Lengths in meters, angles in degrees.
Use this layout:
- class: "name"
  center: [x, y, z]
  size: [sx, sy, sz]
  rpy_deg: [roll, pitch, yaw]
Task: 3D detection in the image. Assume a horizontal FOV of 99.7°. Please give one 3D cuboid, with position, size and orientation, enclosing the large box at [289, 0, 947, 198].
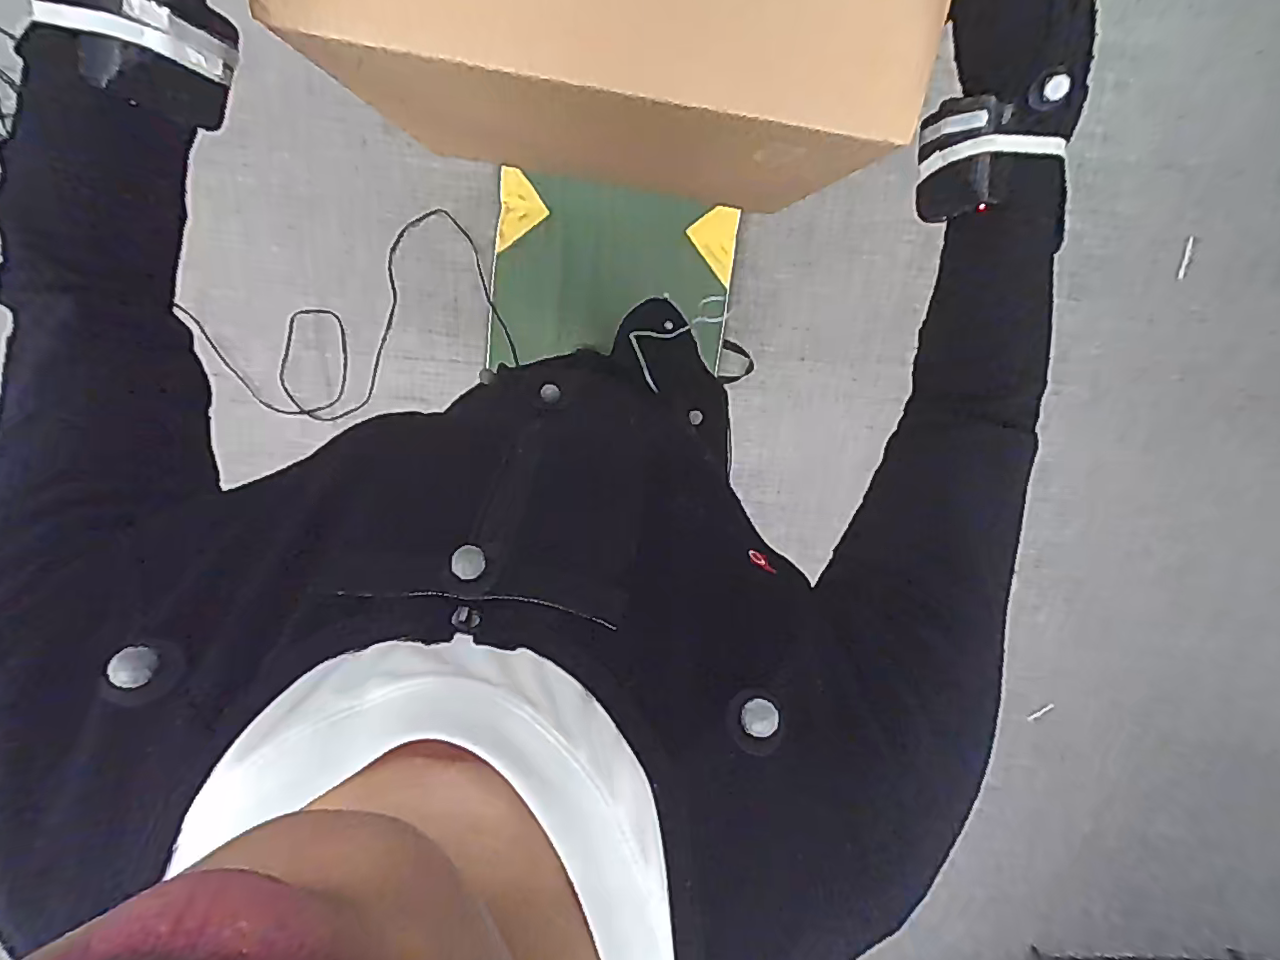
- class: "large box"
  center: [-0.004, -0.446, 0.431]
  size: [0.408, 0.320, 0.320]
  rpy_deg: [6, 109, -6]
